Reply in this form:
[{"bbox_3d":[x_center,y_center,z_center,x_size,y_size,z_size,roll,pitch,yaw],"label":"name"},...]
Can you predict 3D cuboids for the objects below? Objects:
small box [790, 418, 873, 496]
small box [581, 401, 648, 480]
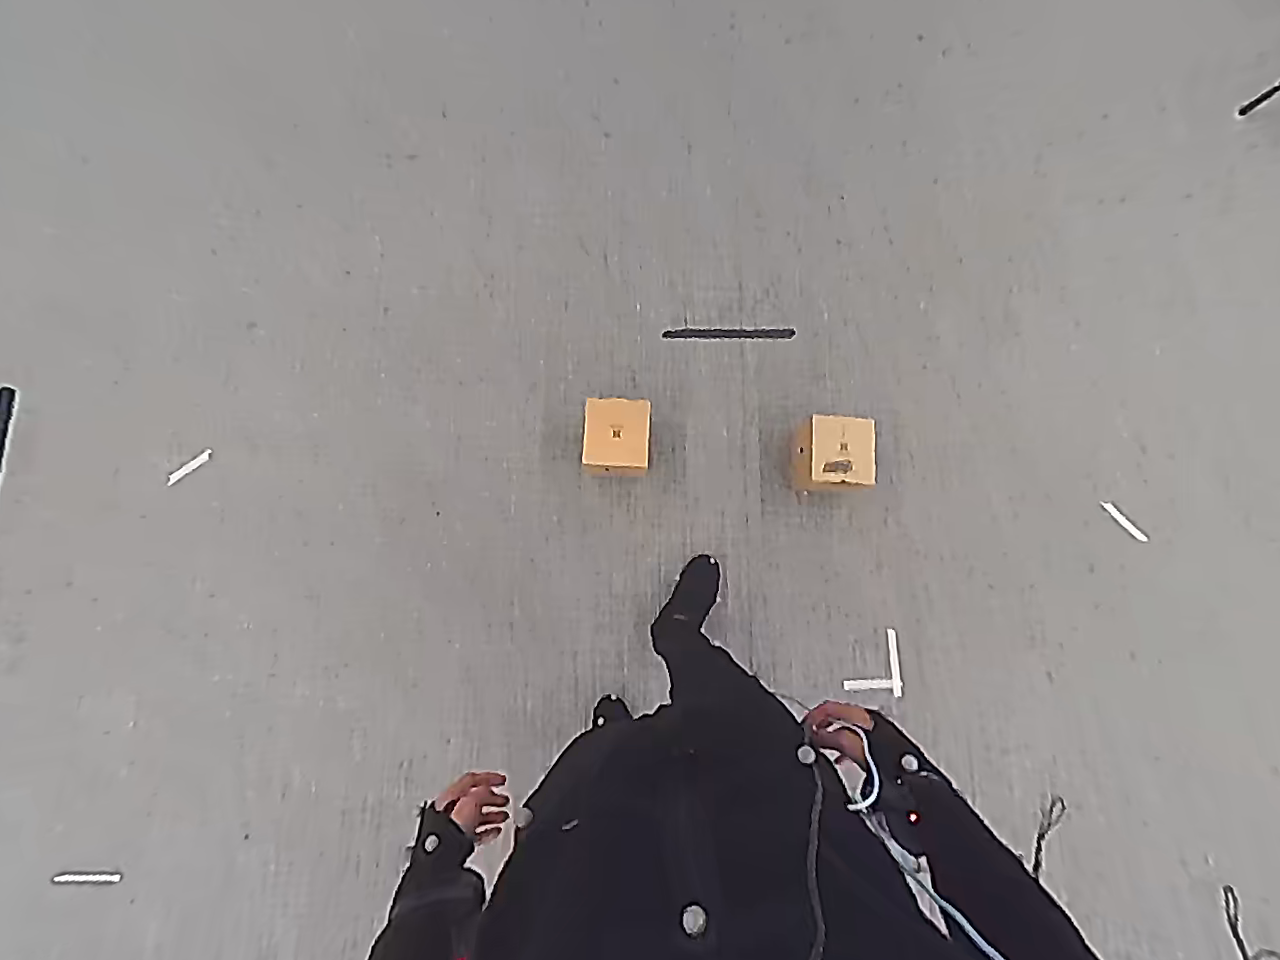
[{"bbox_3d":[0.508,-0.055,1.449,0.168,0.176,0.179,4,79,-2],"label":"small box"},{"bbox_3d":[-0.064,-0.098,1.441,0.168,0.176,0.179,2,80,-1],"label":"small box"}]
